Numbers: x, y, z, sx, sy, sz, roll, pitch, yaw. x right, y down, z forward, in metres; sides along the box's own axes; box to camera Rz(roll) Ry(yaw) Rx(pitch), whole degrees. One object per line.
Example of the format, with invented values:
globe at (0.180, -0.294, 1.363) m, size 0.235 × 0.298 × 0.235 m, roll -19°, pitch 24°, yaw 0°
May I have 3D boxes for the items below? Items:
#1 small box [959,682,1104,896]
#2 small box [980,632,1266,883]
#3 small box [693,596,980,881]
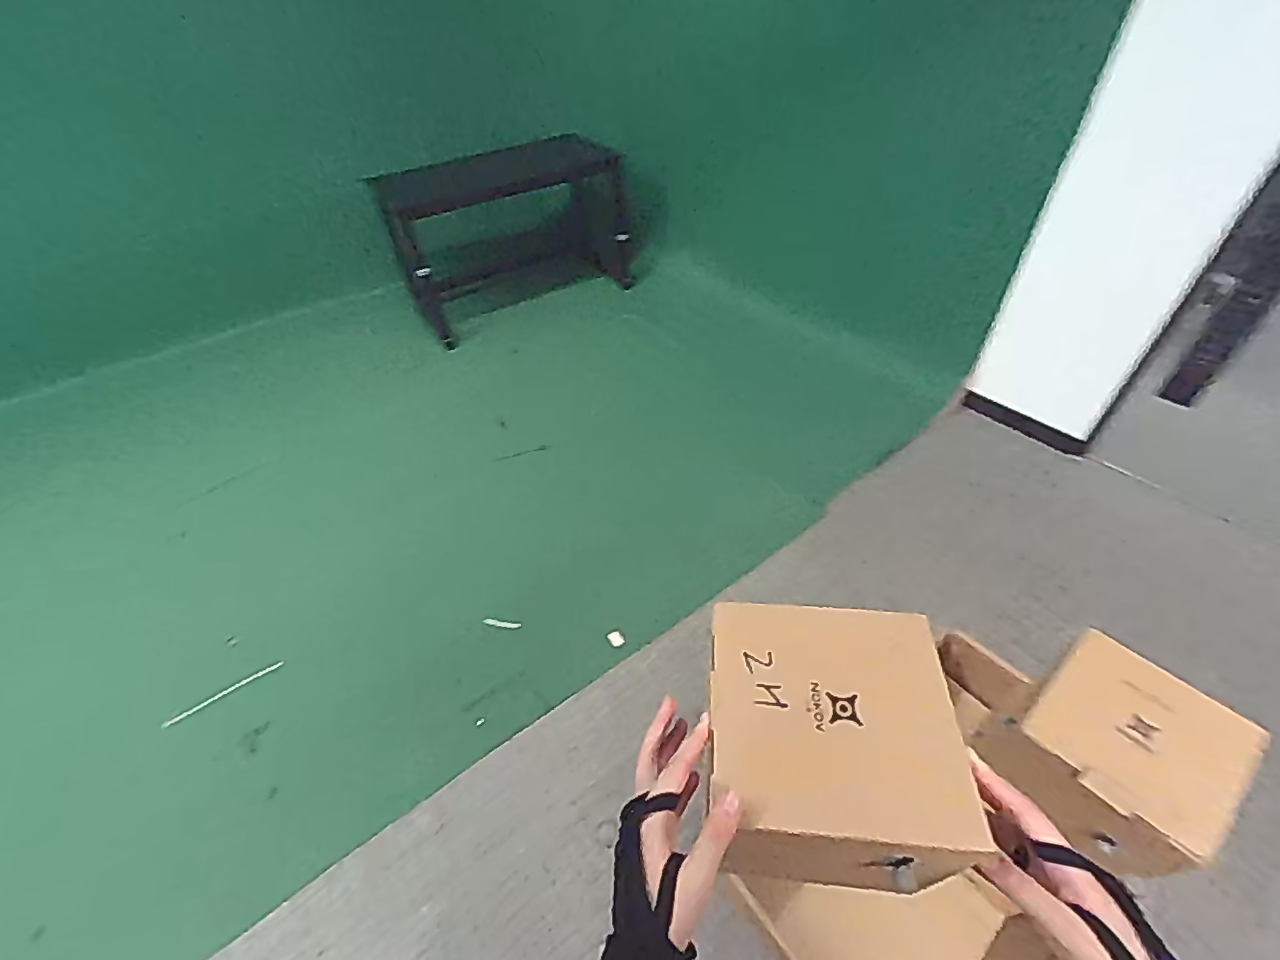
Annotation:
small box at (0.542, 0.427, 0.746) m, size 0.179 × 0.176 × 0.168 m, roll -36°, pitch 53°, yaw -24°
small box at (0.530, 0.320, 0.624) m, size 0.179 × 0.176 × 0.168 m, roll -34°, pitch 52°, yaw -22°
small box at (0.137, 0.218, 0.453) m, size 0.179 × 0.176 × 0.168 m, roll 2°, pitch 46°, yaw 6°
